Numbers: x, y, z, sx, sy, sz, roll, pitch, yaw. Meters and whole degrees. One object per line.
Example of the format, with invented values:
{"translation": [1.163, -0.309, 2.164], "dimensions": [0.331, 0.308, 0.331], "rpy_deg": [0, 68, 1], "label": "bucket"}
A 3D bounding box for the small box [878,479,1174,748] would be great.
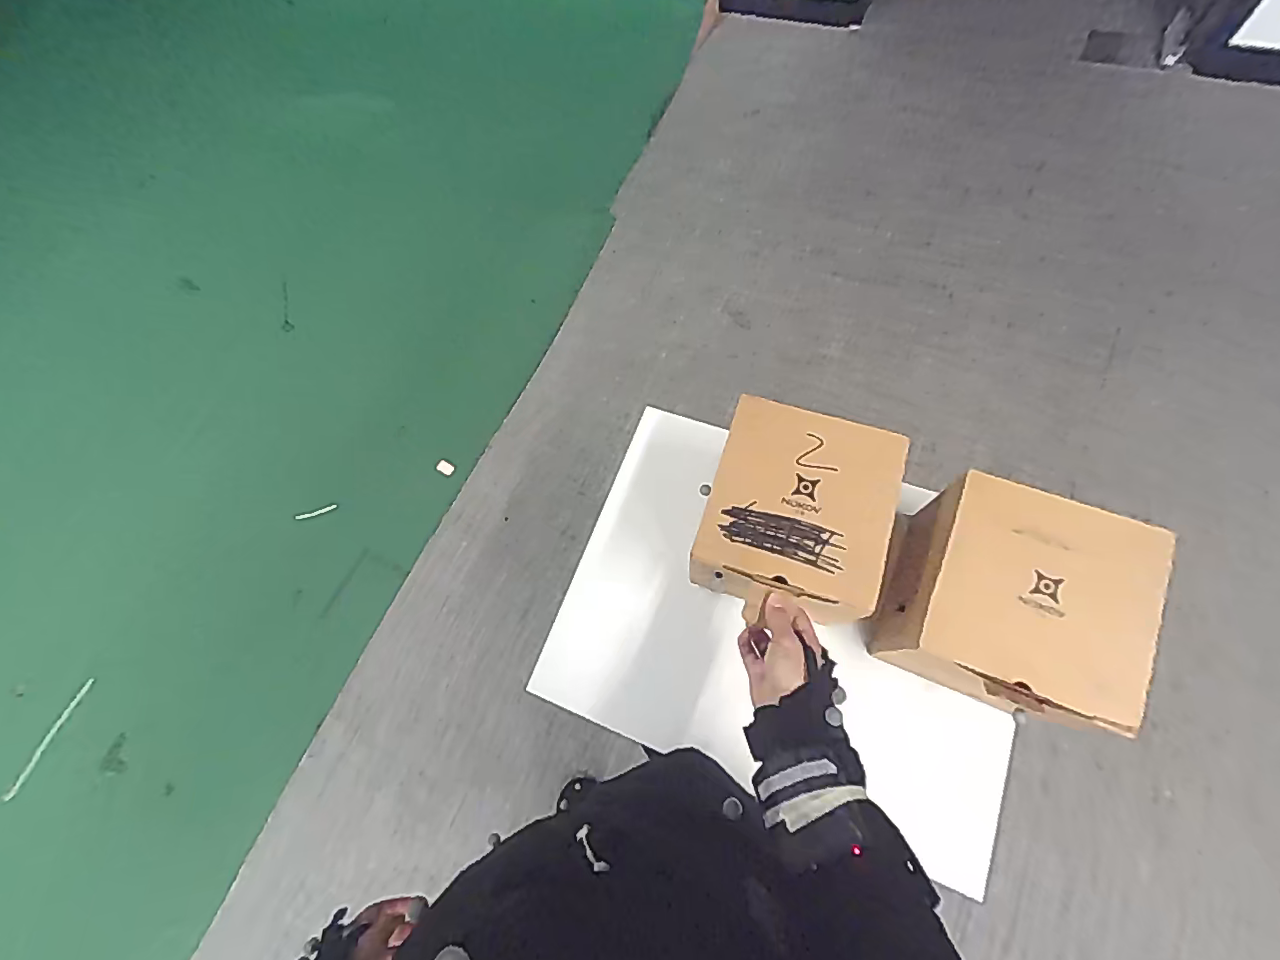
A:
{"translation": [0.349, 0.128, 0.524], "dimensions": [0.168, 0.176, 0.179], "rpy_deg": [20, 74, 15], "label": "small box"}
